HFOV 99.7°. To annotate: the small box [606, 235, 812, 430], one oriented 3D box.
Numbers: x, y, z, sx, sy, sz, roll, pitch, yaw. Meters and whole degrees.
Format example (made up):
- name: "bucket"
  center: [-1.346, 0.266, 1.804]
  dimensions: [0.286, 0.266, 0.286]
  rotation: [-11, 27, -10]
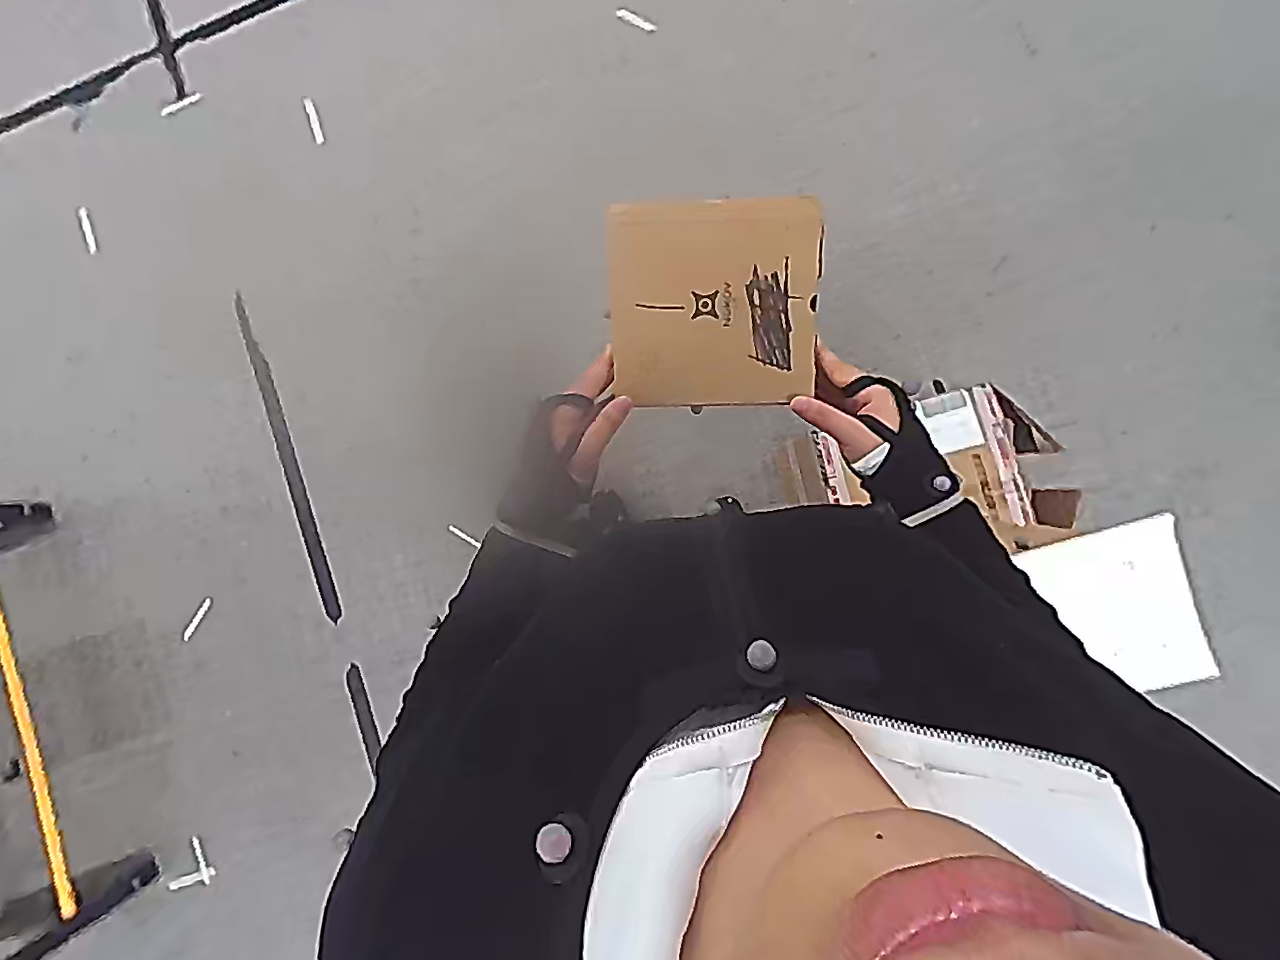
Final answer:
- name: "small box"
  center: [0.059, -0.146, 0.549]
  dimensions: [0.179, 0.176, 0.168]
  rotation: [-2, 104, 1]
